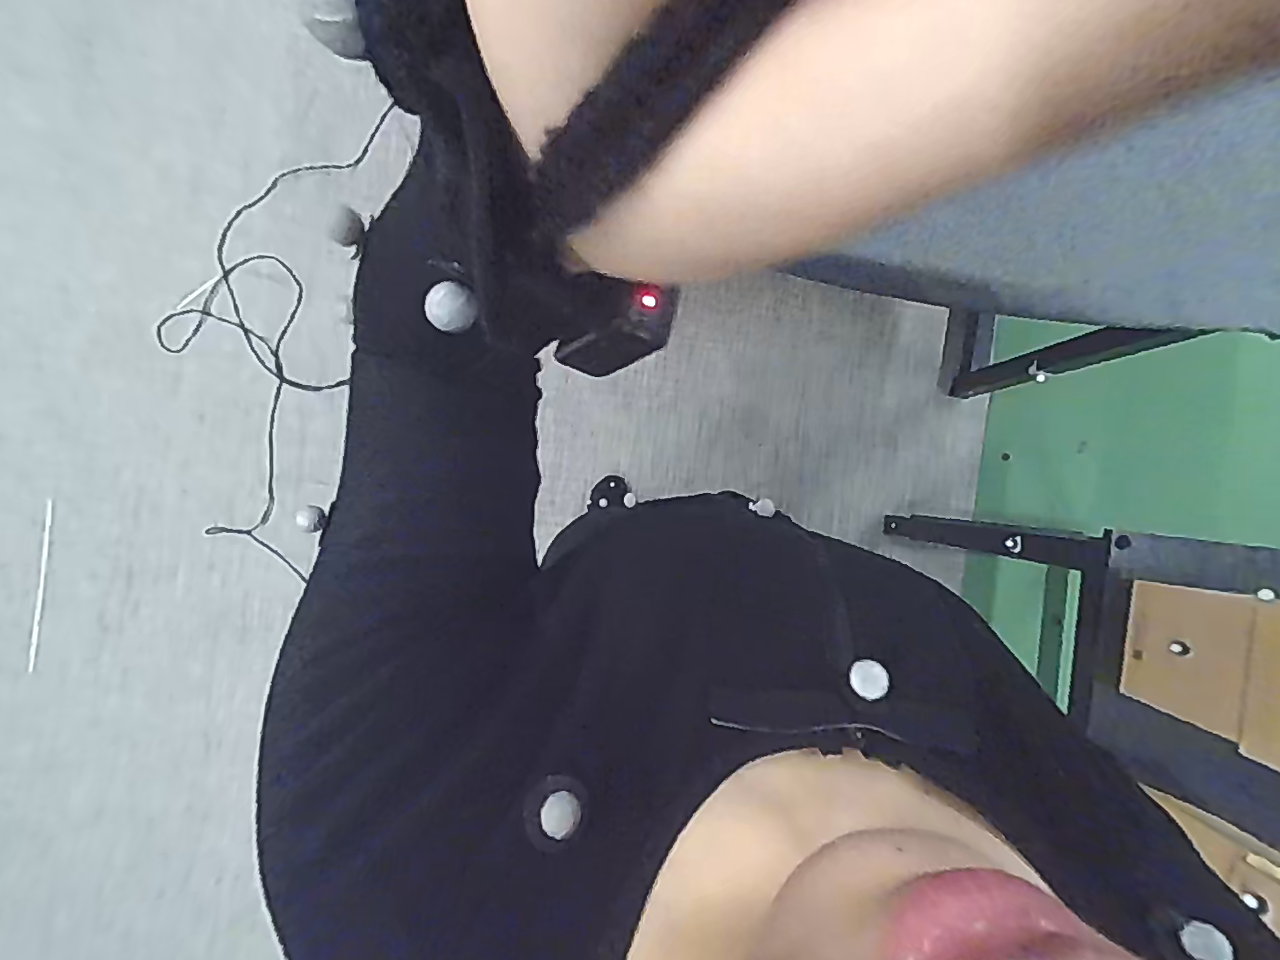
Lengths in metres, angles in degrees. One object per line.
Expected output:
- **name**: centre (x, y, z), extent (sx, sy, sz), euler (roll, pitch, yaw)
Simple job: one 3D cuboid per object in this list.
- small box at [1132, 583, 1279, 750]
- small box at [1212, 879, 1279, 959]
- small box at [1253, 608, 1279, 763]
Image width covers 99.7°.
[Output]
- **small box**: centre (0.786, 0.233, 0.686), extent (0.179, 0.176, 0.168), euler (7, 91, 0)
- **small box**: centre (0.721, 0.538, 0.520), extent (0.179, 0.176, 0.168), euler (26, 90, -1)
- **small box**: centre (0.769, 0.236, 0.523), extent (0.168, 0.176, 0.179), euler (7, 89, 0)
